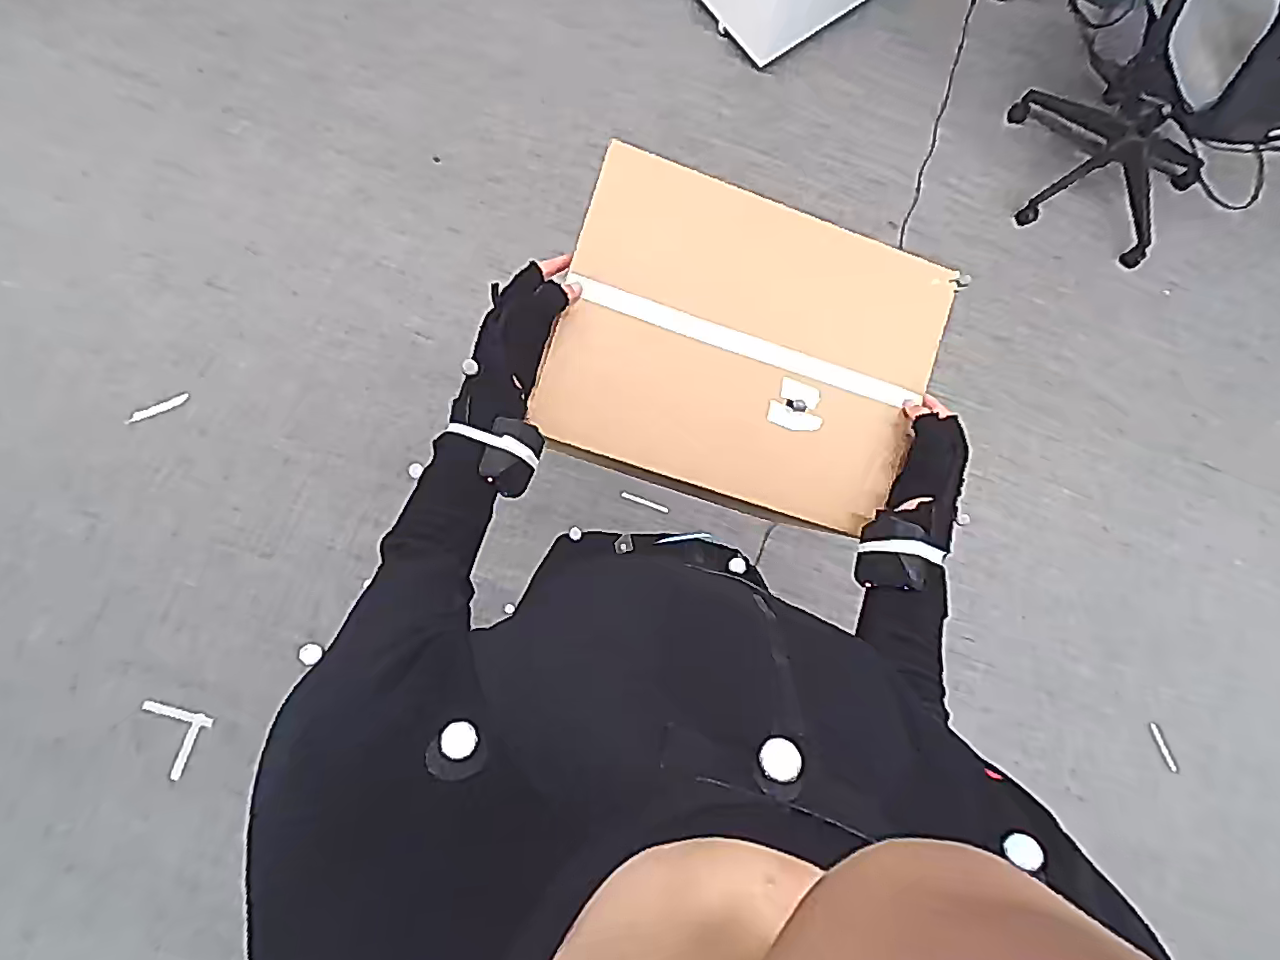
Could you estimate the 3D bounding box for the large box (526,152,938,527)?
[{"bbox_3d":[0.091,-0.149,0.736,0.408,0.320,0.320,18,89,-7],"label":"large box"}]
